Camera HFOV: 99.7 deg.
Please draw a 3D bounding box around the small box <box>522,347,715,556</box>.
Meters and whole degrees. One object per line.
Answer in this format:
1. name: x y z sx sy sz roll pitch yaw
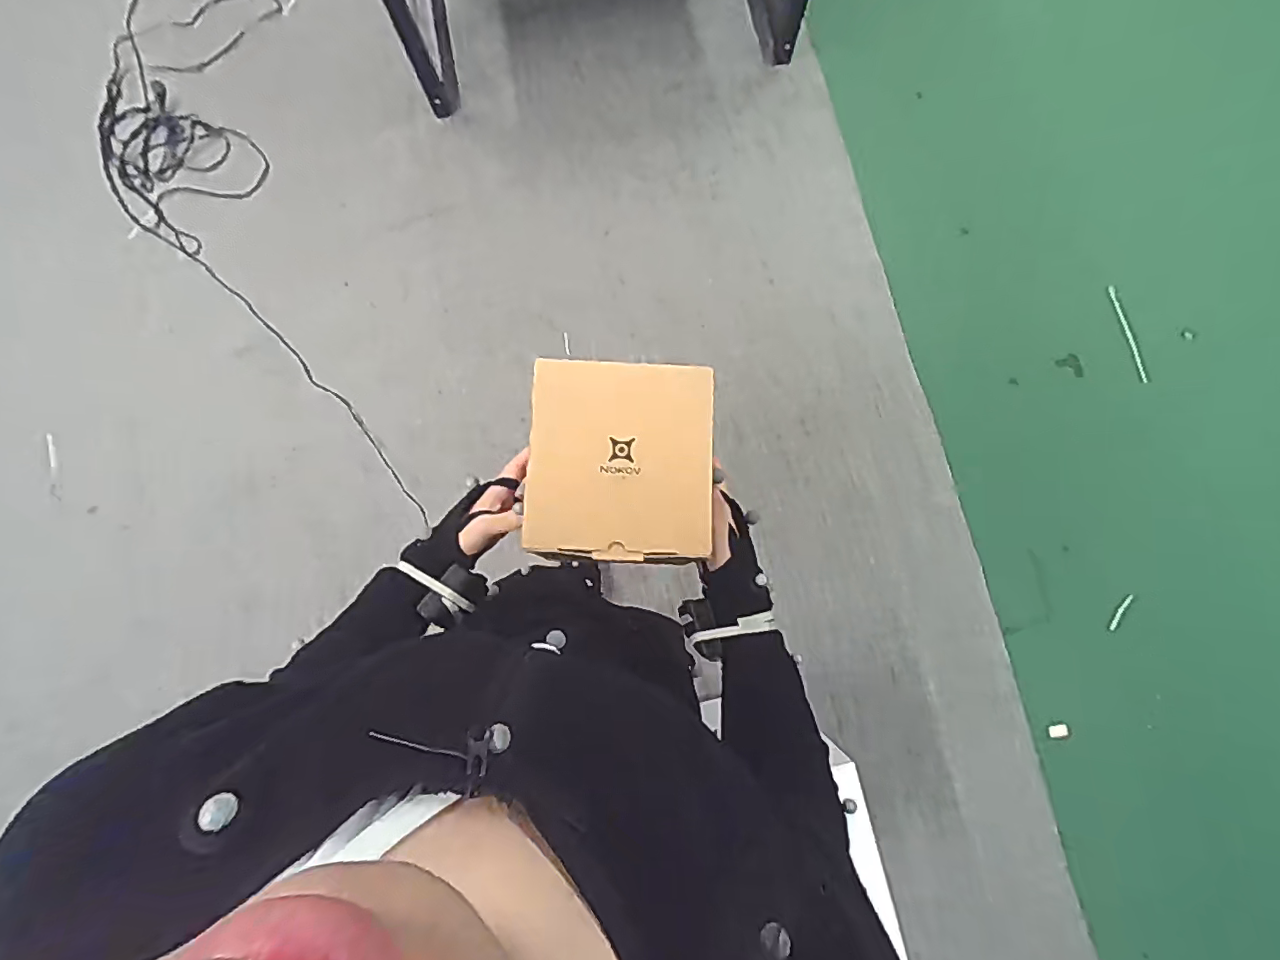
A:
1. small box: -0.021 -0.017 0.550 0.168 0.176 0.179 2 80 -2
